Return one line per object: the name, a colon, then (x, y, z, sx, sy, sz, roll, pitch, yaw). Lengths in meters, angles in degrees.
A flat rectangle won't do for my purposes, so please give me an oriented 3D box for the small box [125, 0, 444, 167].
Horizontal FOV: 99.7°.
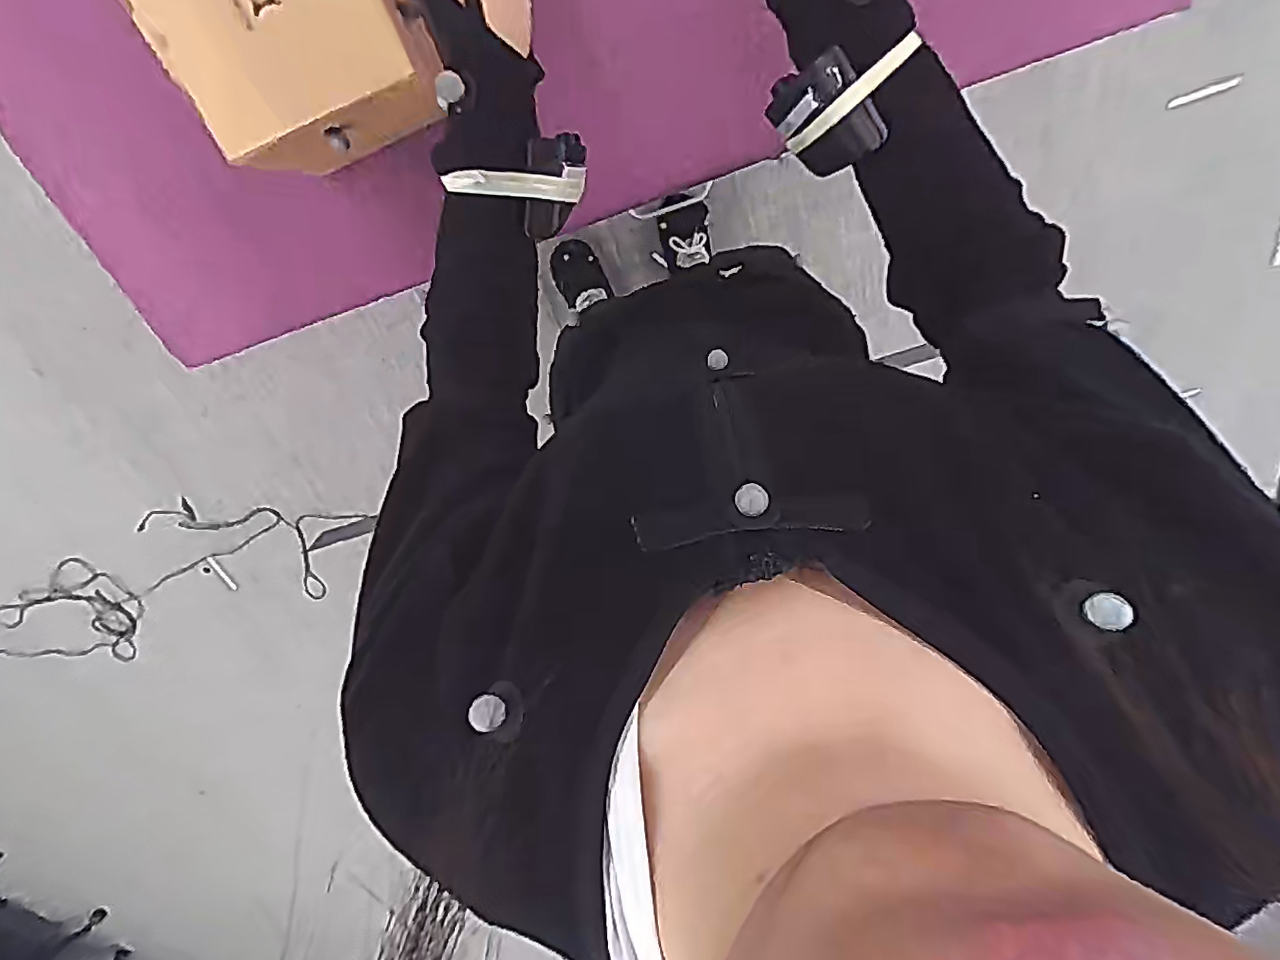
small box: (-0.293, -0.395, 0.471, 0.179, 0.176, 0.168, -20, 117, 7)
